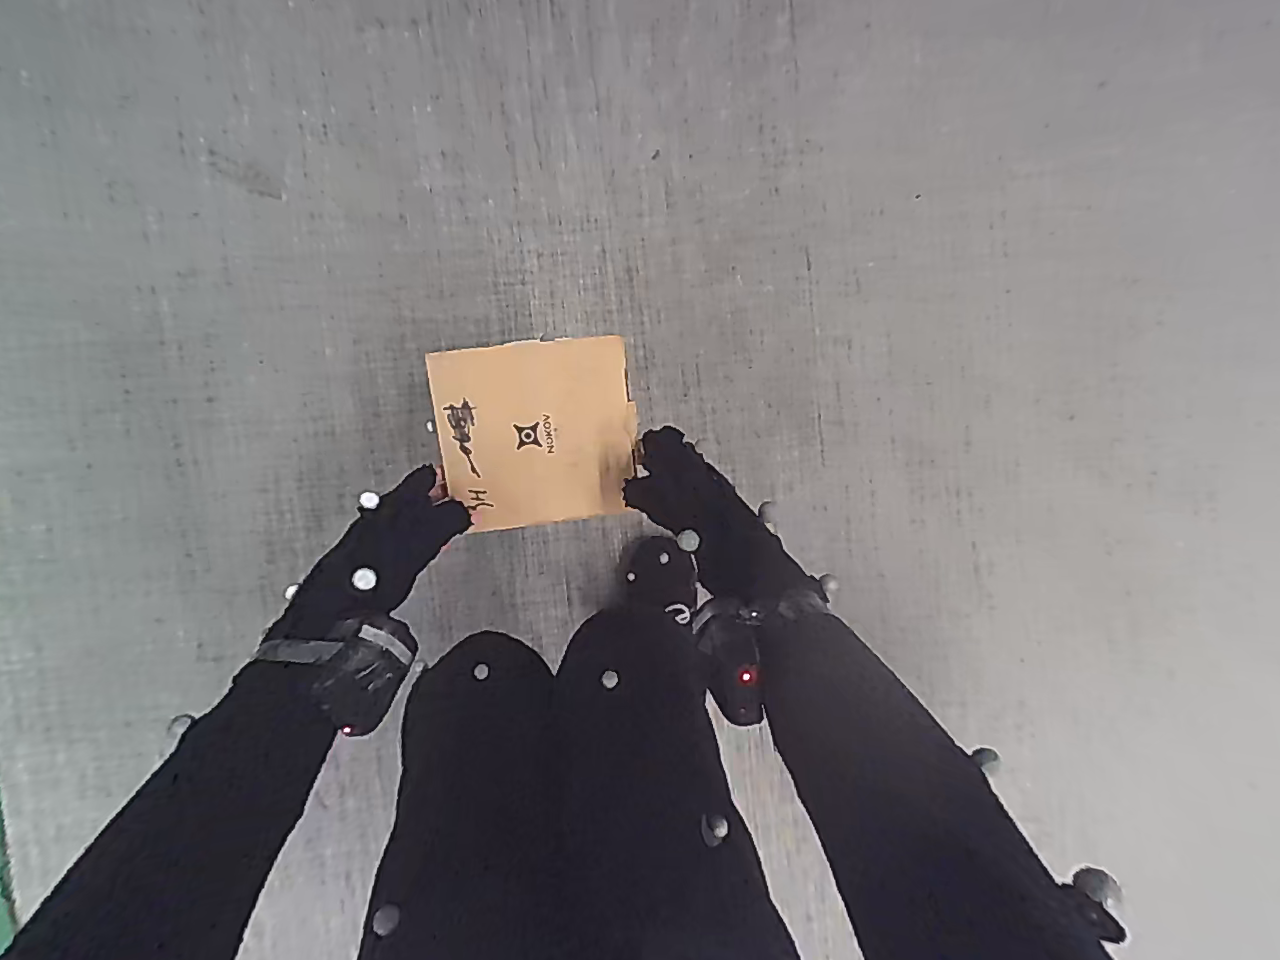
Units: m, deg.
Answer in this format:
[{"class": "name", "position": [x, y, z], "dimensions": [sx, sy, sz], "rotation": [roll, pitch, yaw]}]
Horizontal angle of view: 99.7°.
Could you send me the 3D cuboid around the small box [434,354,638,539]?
[{"class": "small box", "position": [-0.105, -0.044, 0.583], "dimensions": [0.179, 0.176, 0.168], "rotation": [-6, 99, -7]}]
